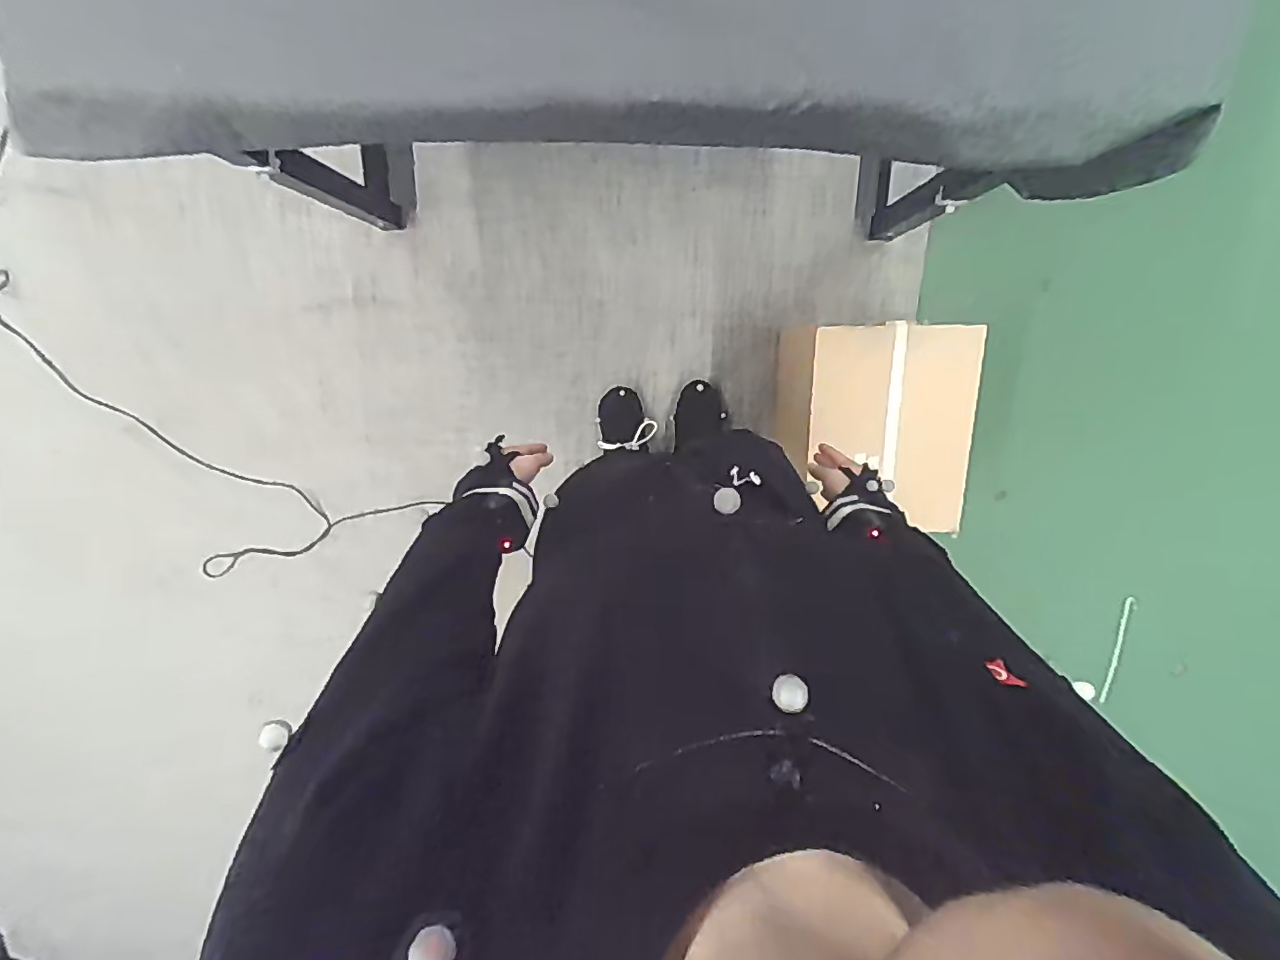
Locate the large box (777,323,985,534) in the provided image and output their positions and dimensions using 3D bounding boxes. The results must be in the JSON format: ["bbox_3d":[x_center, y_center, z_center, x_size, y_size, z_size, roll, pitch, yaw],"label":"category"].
[{"bbox_3d":[0.487,-0.123,1.176,0.320,0.320,0.408,0,103,2],"label":"large box"}]
